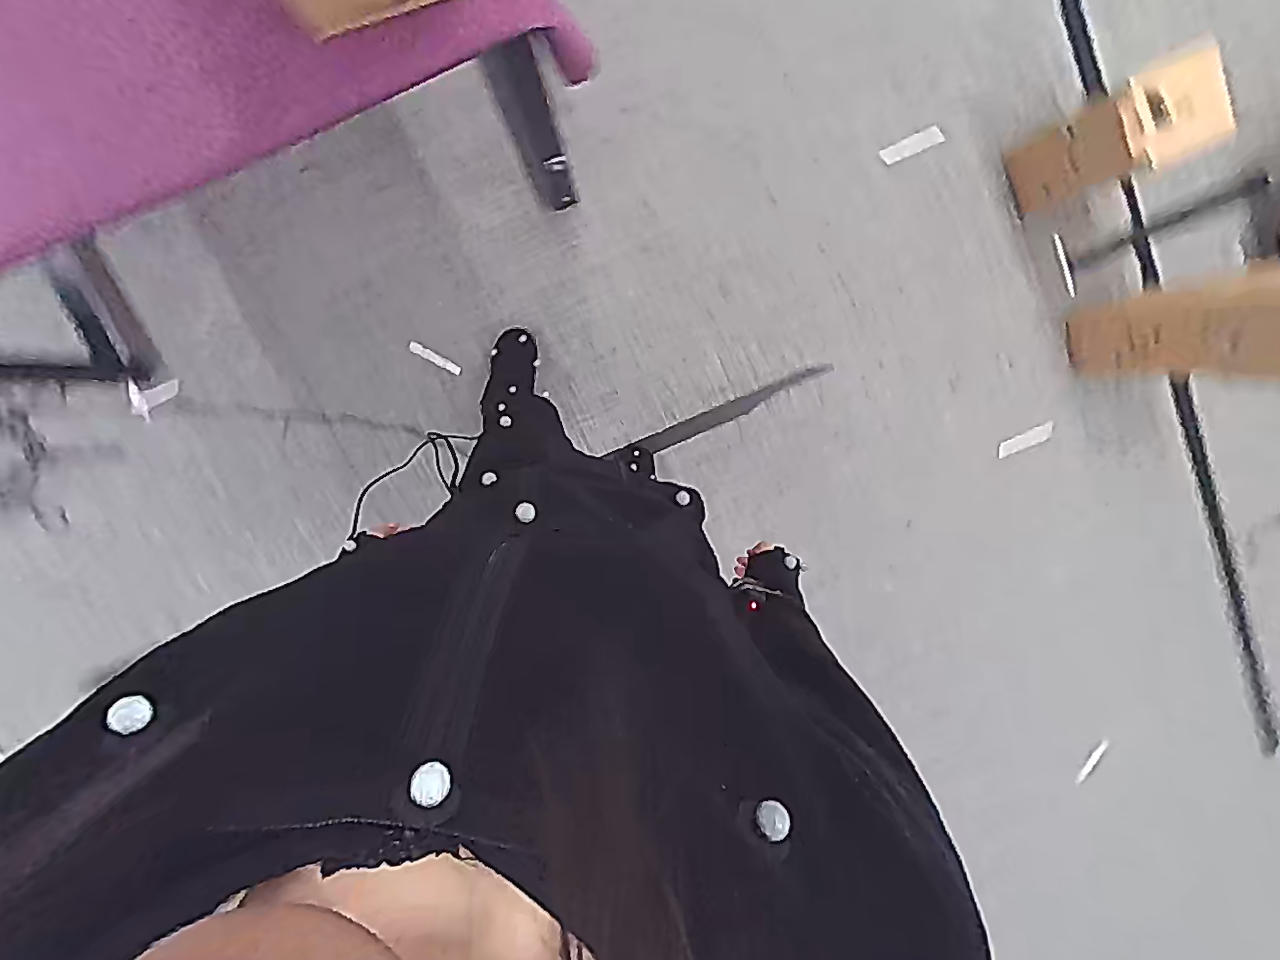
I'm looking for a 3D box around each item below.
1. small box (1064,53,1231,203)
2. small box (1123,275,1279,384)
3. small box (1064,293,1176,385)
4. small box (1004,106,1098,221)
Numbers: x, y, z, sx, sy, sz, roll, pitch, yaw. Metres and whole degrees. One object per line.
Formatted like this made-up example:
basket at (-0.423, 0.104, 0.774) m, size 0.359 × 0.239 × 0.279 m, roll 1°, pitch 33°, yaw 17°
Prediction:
small box at (0.998, -0.689, 1.083) m, size 0.179 × 0.176 × 0.168 m, roll -23°, pitch 100°, yaw 0°
small box at (1.206, -0.317, 1.159) m, size 0.179 × 0.176 × 0.168 m, roll -23°, pitch 101°, yaw 3°
small box at (1.187, -0.341, 1.320) m, size 0.168 × 0.176 × 0.179 m, roll -19°, pitch 101°, yaw 1°
small box at (0.989, -0.723, 1.243) m, size 0.168 × 0.176 × 0.179 m, roll -26°, pitch 99°, yaw 2°
